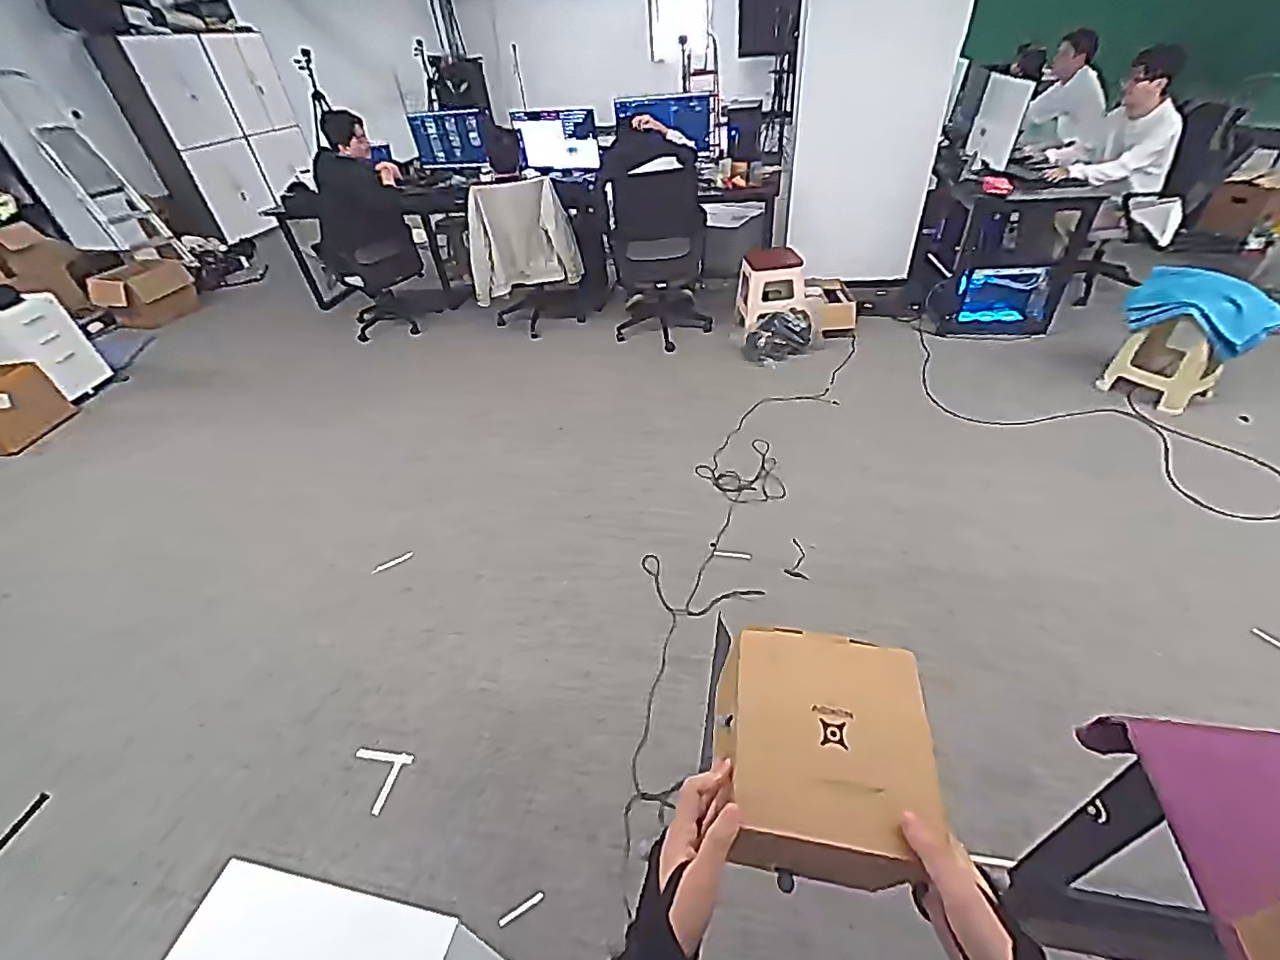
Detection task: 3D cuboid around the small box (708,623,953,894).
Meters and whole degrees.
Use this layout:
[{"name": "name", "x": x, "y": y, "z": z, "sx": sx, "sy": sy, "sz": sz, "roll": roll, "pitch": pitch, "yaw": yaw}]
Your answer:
[{"name": "small box", "x": 0.161, "y": 0.266, "z": 0.517, "sx": 0.168, "sy": 0.176, "sz": 0.179, "roll": 8, "pitch": 48, "yaw": 5}]
